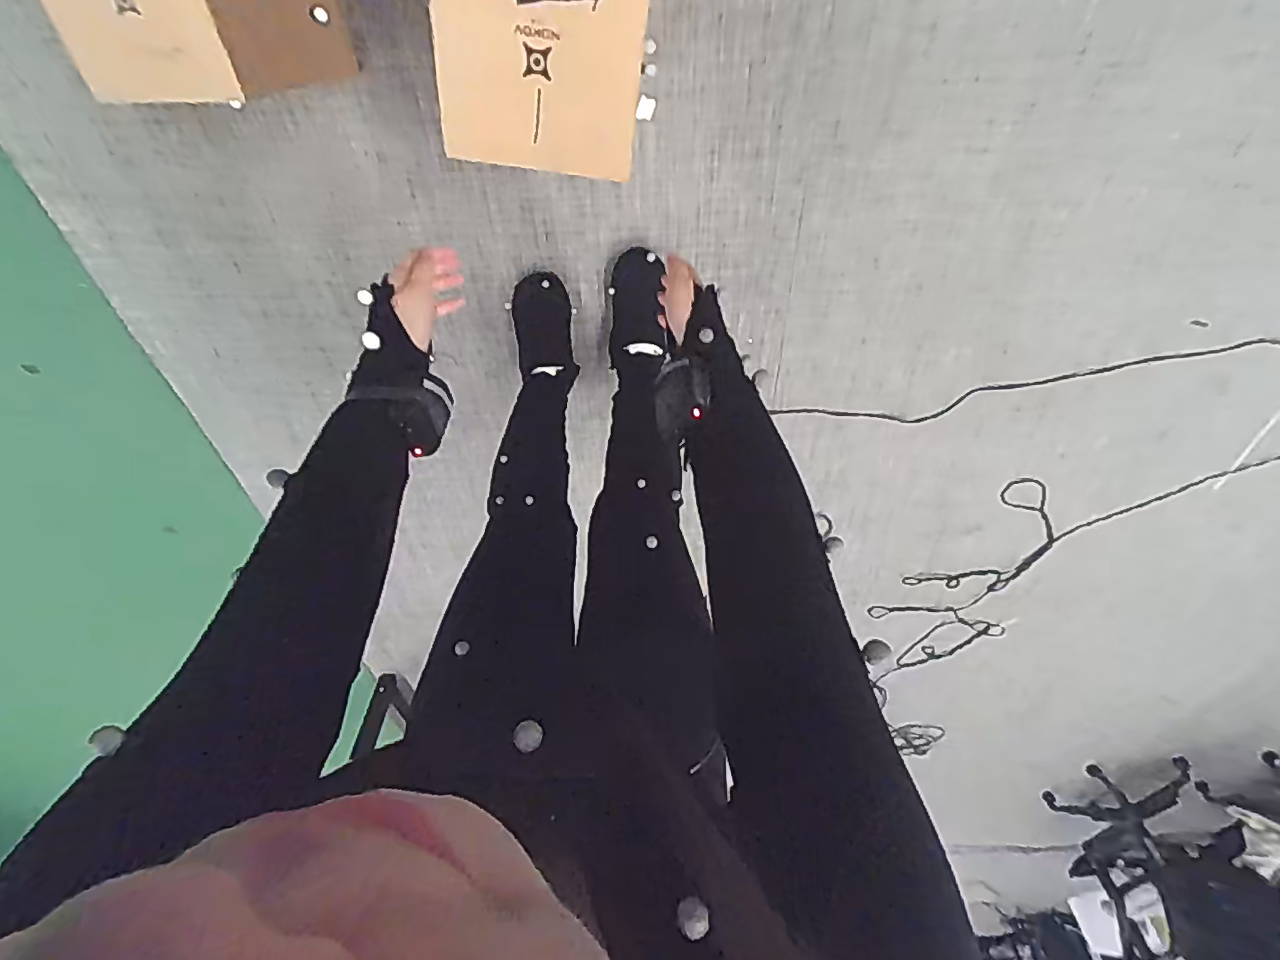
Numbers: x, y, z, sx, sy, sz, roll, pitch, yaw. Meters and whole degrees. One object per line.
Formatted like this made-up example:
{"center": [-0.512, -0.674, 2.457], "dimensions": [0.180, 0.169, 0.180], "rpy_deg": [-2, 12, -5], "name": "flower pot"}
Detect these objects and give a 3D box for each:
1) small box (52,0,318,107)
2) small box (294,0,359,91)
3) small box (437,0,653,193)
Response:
{"center": [-0.498, -0.527, 0.593], "dimensions": [0.168, 0.176, 0.179], "rpy_deg": [0, 133, 1], "name": "small box"}
{"center": [-0.501, -0.638, 0.713], "dimensions": [0.168, 0.176, 0.179], "rpy_deg": [2, 133, -2], "name": "small box"}
{"center": [-0.079, -0.393, 0.496], "dimensions": [0.168, 0.176, 0.179], "rpy_deg": [6, 134, -5], "name": "small box"}
